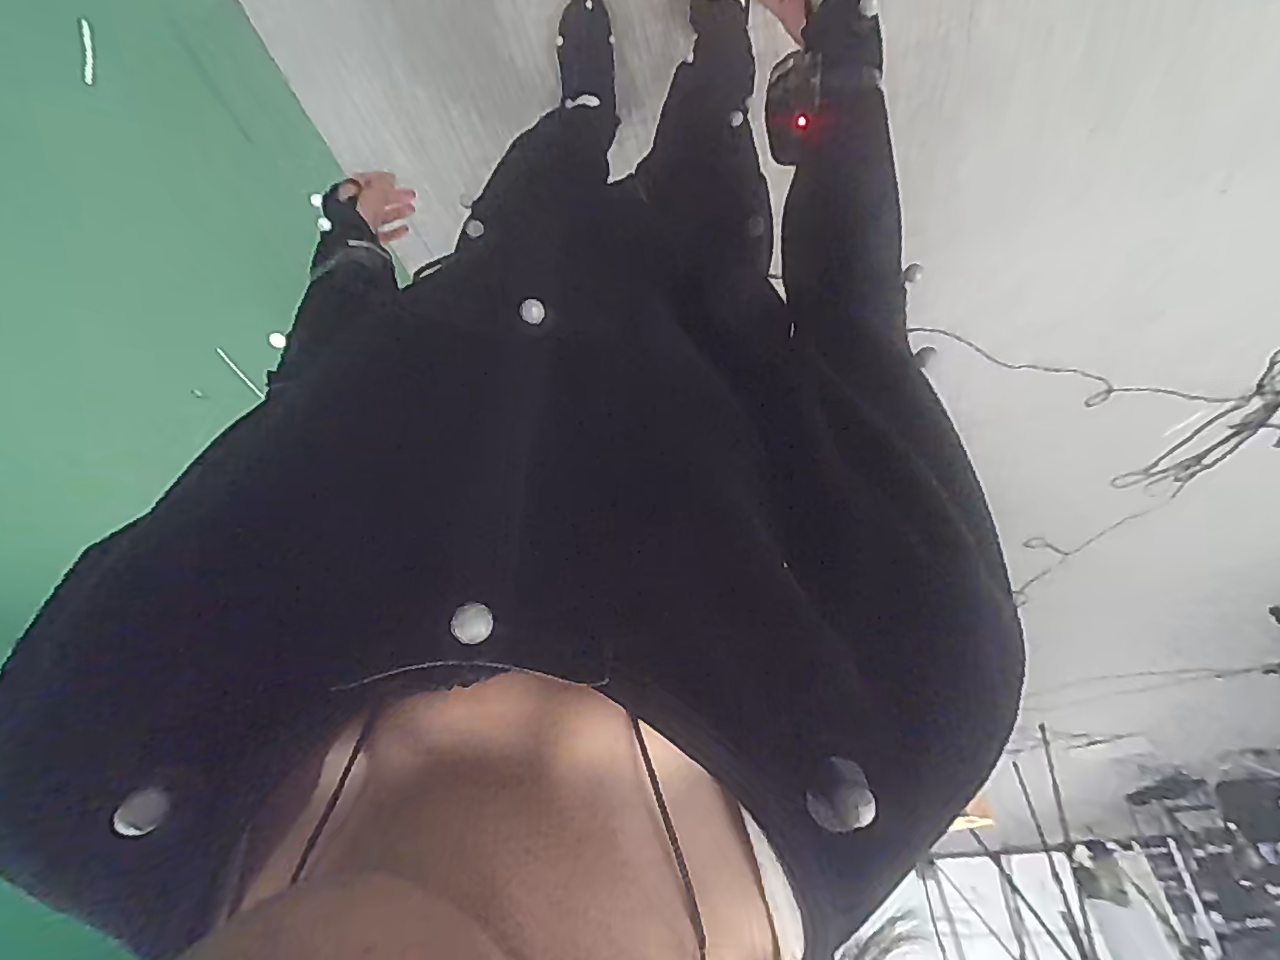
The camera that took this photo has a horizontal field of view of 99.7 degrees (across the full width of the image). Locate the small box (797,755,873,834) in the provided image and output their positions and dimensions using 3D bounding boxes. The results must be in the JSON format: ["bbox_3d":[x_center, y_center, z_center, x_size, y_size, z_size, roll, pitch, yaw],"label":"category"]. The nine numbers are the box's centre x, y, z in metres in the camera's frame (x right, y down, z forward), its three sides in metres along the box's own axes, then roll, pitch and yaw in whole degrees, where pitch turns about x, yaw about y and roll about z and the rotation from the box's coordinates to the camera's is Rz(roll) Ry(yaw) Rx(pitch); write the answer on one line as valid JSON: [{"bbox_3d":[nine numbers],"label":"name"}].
[{"bbox_3d":[0.560,0.910,1.573,0.168,0.176,0.179,-11,138,8],"label":"small box"}]

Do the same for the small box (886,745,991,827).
[{"bbox_3d":[0.836,0.864,1.527,0.168,0.176,0.179,28,131,-29],"label":"small box"}]
